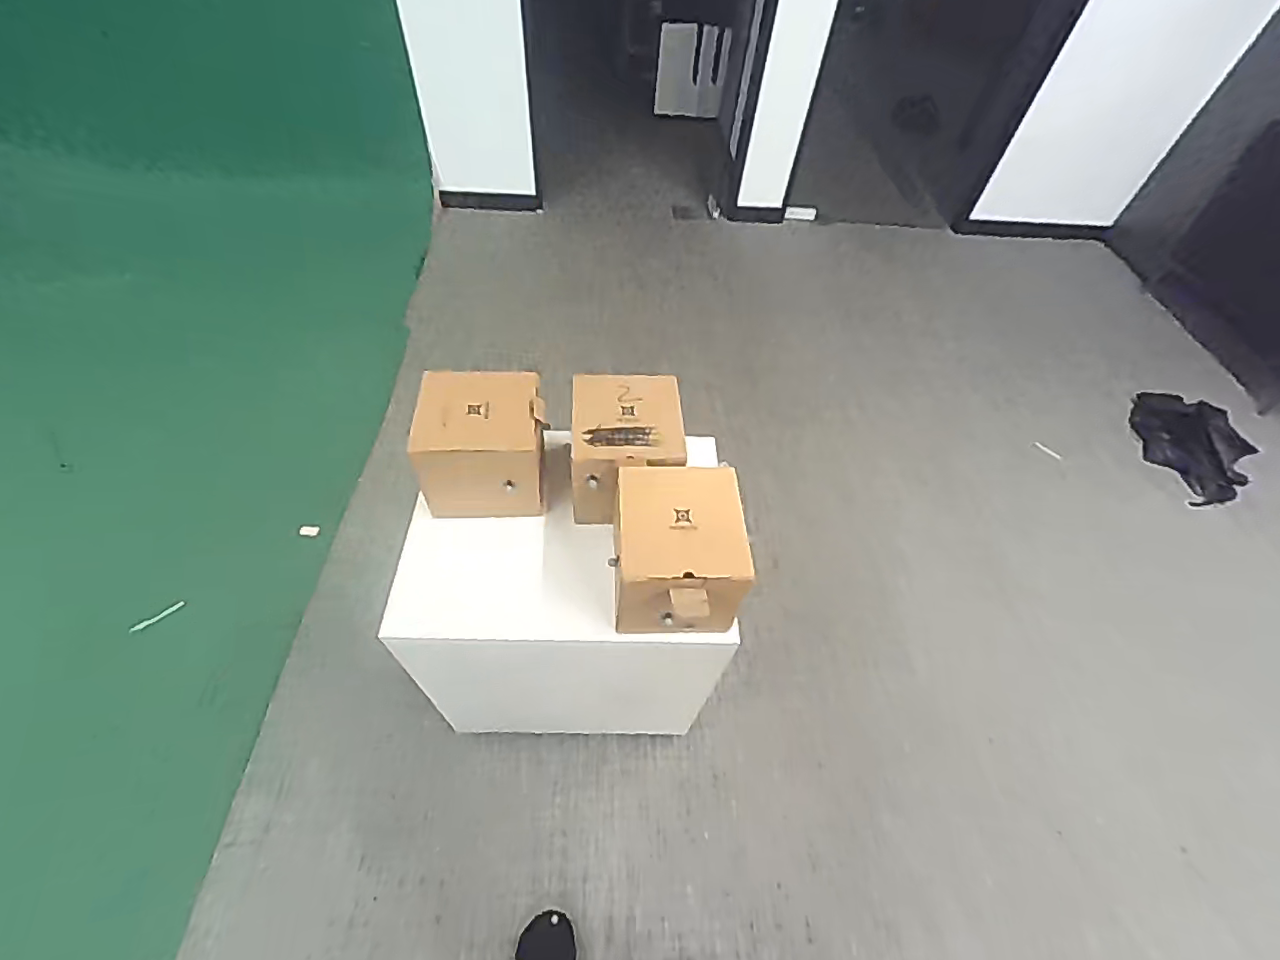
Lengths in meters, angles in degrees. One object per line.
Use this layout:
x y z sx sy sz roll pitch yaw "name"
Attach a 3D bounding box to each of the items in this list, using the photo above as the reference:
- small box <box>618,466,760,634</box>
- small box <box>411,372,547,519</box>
0.055 0.100 0.760 0.168 0.176 0.179 1 52 -5 "small box"
-0.238 -0.051 0.851 0.179 0.176 0.168 -1 52 -7 "small box"
